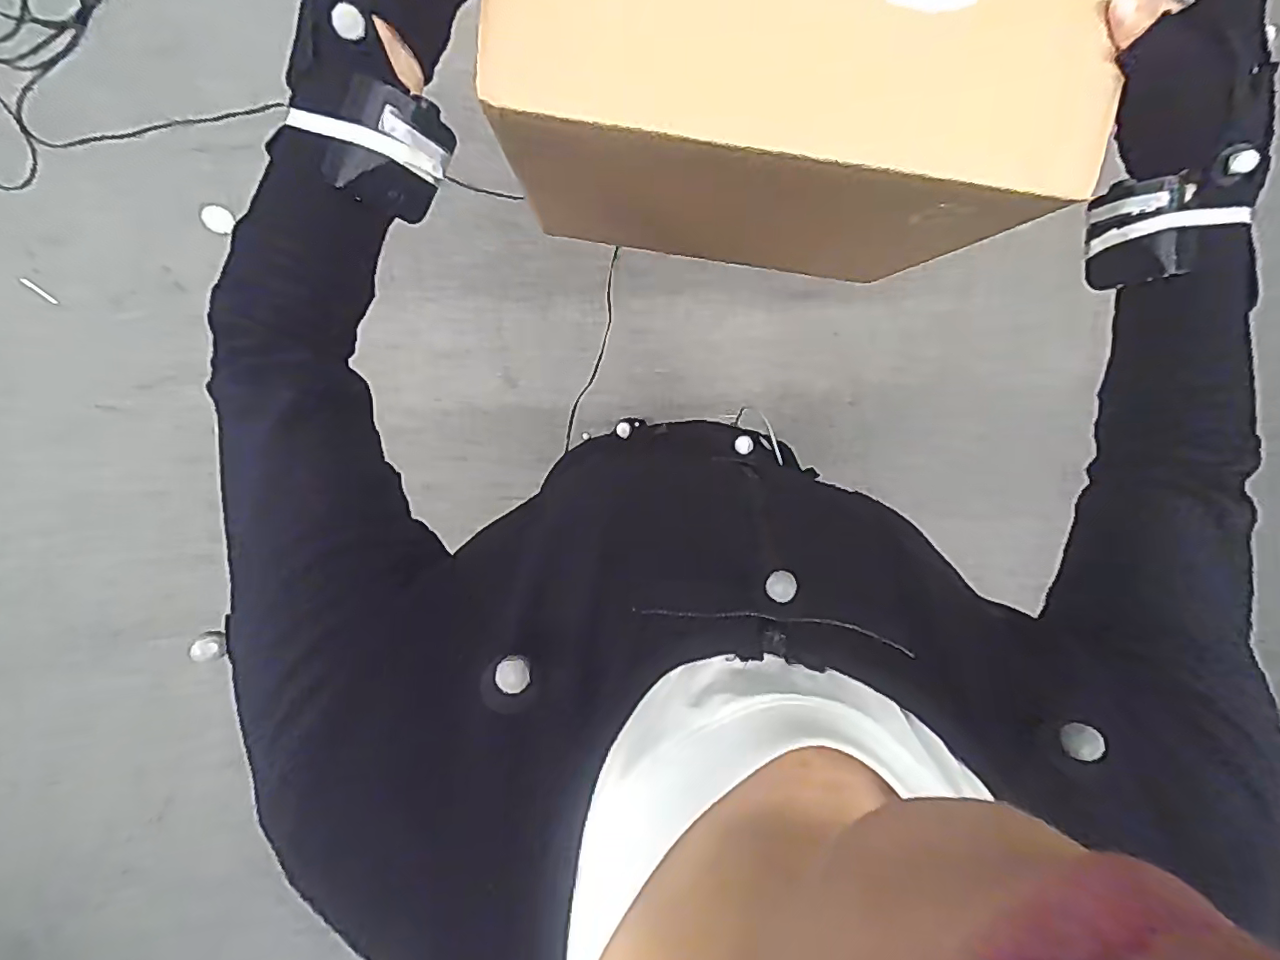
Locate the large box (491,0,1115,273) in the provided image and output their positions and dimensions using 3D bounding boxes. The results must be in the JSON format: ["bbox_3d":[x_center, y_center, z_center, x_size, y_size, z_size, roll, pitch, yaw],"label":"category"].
[{"bbox_3d":[0.107,-0.393,0.479,0.408,0.320,0.320,6,101,-4],"label":"large box"}]
